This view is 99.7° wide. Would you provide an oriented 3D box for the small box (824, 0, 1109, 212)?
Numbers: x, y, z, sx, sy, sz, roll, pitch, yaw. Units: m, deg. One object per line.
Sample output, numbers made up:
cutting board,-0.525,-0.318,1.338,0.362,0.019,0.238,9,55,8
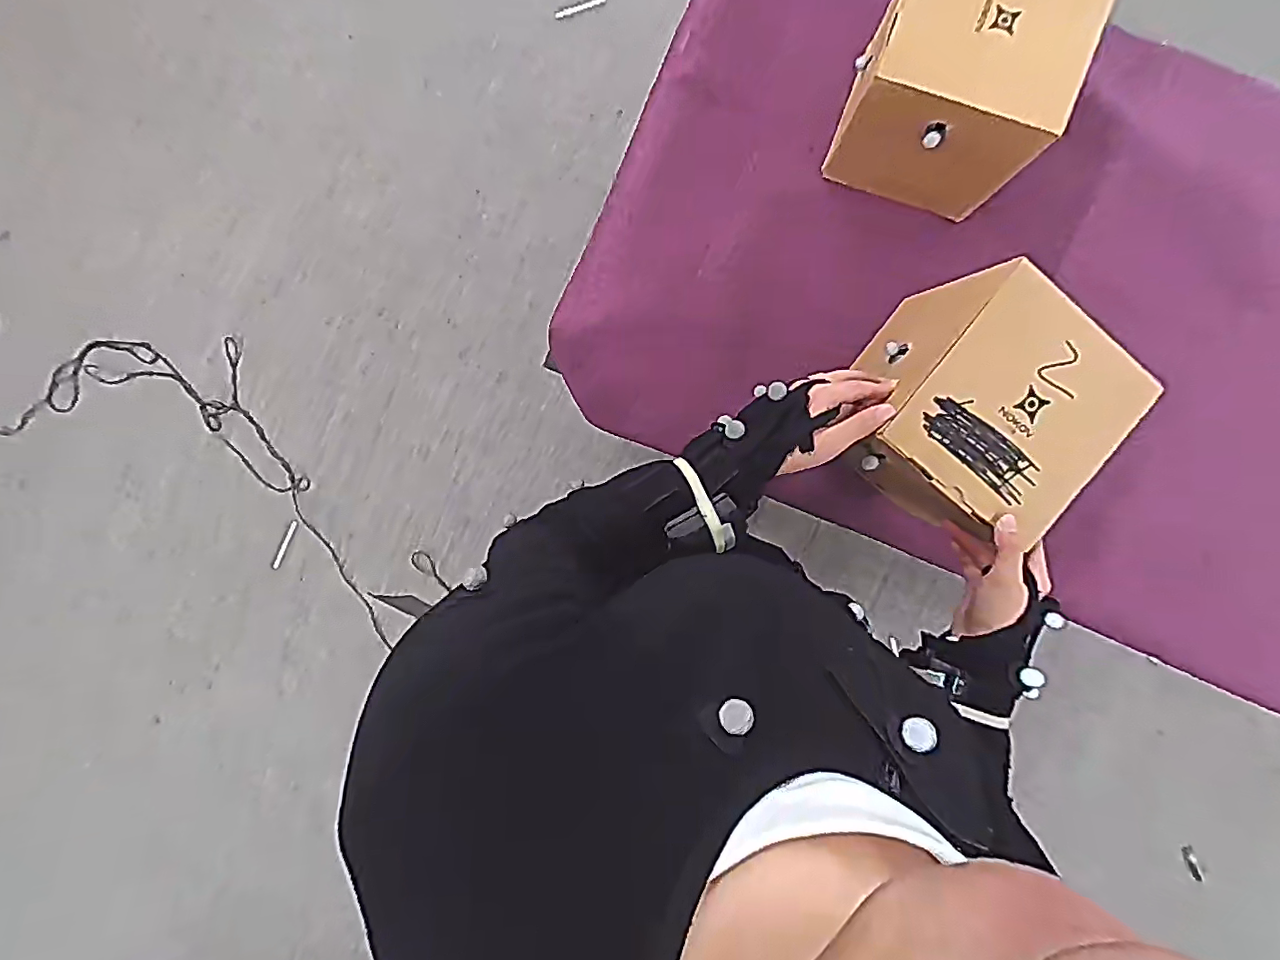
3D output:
small box,0.320,-0.411,0.562,0.179,0.176,0.168,20,92,3
